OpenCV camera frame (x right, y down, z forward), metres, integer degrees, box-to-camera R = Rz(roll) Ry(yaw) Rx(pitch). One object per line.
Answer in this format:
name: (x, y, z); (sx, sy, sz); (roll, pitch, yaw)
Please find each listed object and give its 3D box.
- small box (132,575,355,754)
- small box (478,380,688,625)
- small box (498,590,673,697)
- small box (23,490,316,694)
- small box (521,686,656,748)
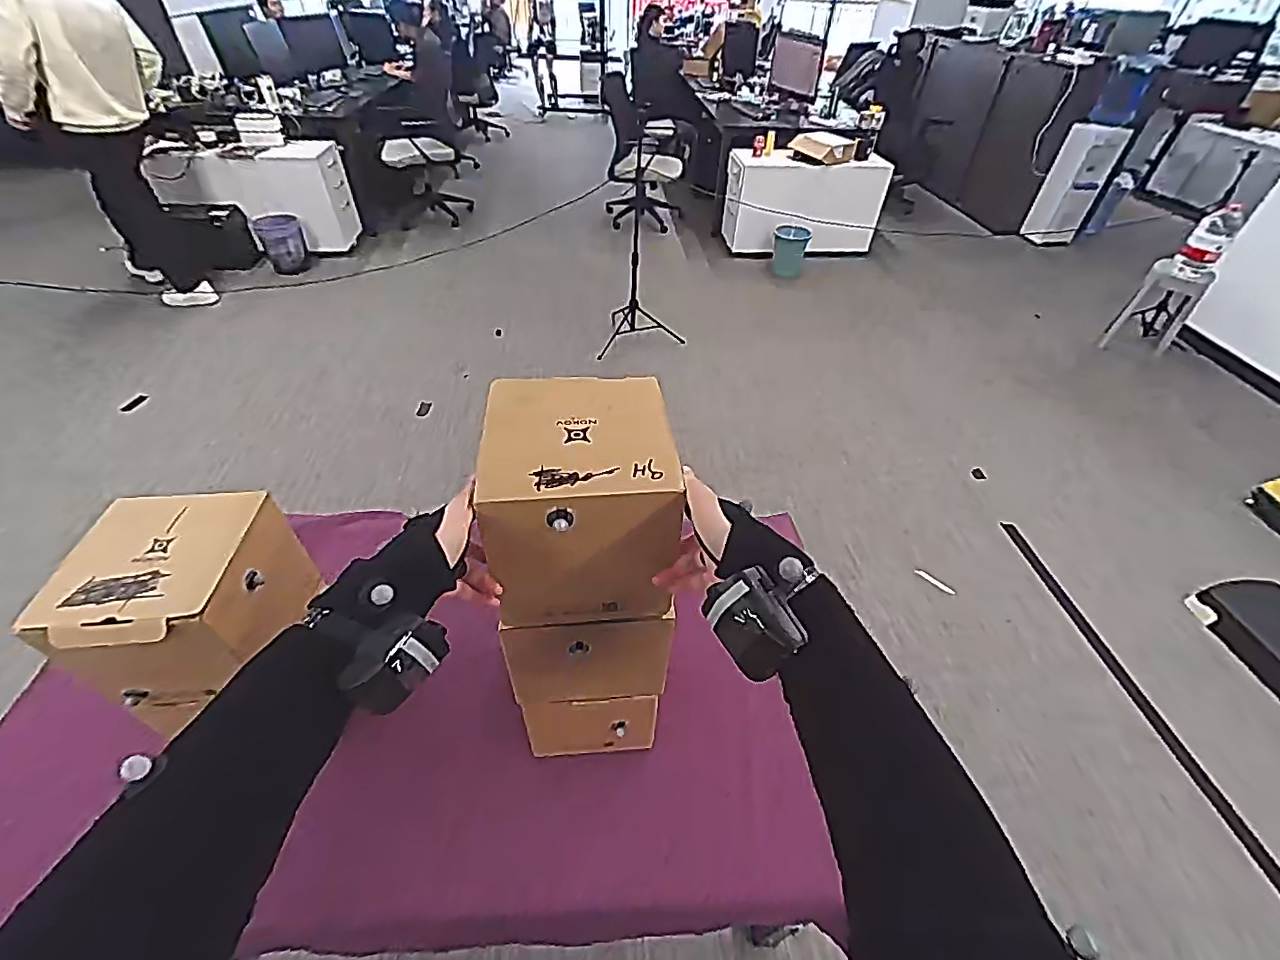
small box: (-0.516, 0.252, 0.742); (0.168, 0.176, 0.179); (-2, 45, -5)
small box: (-0.054, 0.018, 0.531); (0.168, 0.176, 0.179); (-3, 41, -6)
small box: (-0.061, 0.143, 0.641); (0.179, 0.176, 0.168); (-1, 45, -5)
small box: (-0.510, 0.133, 0.628); (0.168, 0.176, 0.179); (-2, 44, -6)
small box: (-0.067, 0.259, 0.757); (0.168, 0.176, 0.179); (-1, 44, -5)
